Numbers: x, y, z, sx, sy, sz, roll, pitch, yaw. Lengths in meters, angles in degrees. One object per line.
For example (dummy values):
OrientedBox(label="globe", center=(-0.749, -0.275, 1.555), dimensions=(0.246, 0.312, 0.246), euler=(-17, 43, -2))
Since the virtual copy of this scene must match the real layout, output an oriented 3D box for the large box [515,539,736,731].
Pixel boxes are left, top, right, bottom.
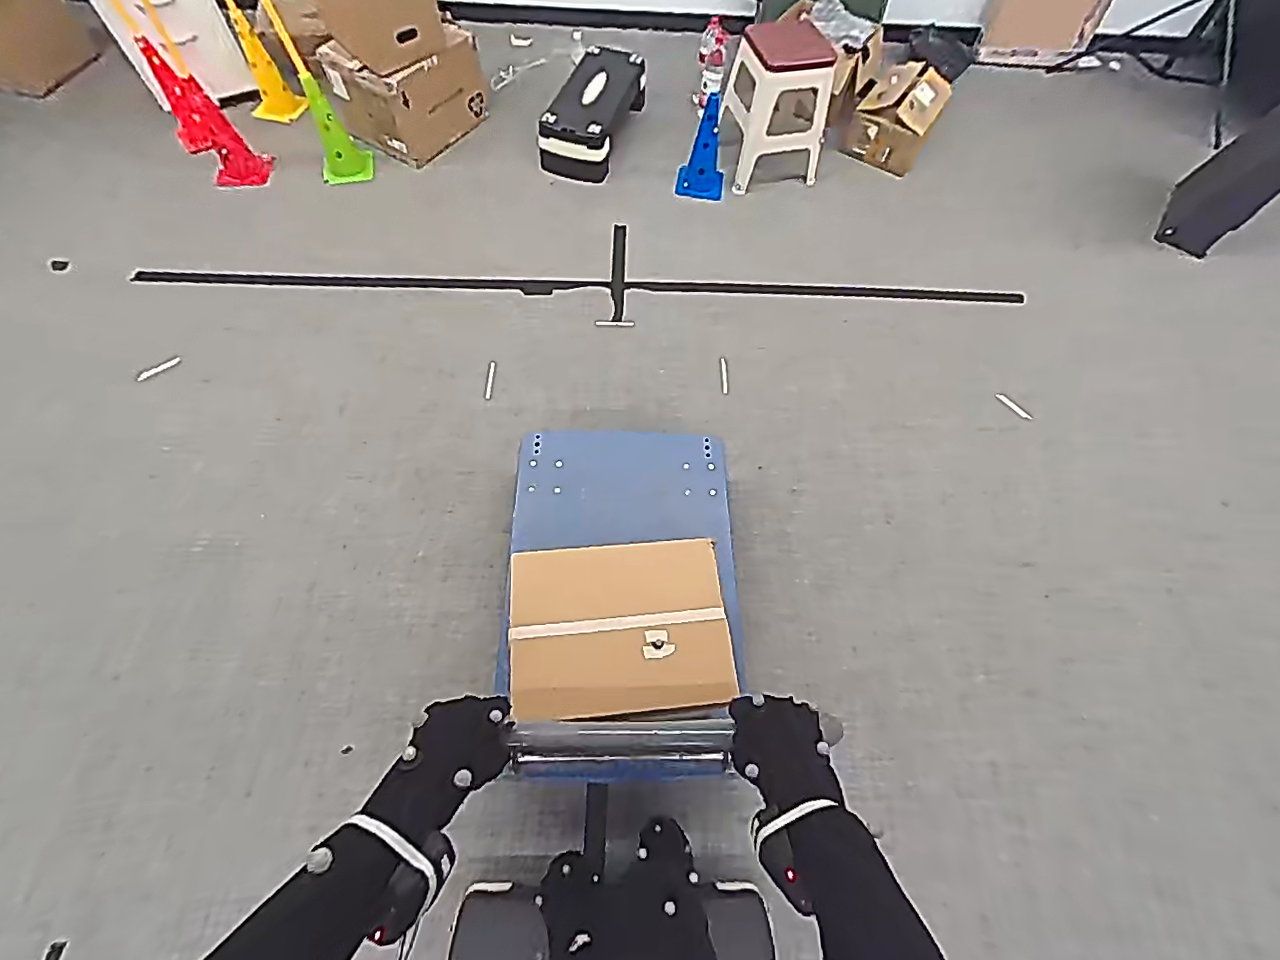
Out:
OrientedBox(label="large box", center=(-0.047, 0.342, 1.163), dimensions=(0.408, 0.320, 0.320), euler=(-4, 63, -6))
